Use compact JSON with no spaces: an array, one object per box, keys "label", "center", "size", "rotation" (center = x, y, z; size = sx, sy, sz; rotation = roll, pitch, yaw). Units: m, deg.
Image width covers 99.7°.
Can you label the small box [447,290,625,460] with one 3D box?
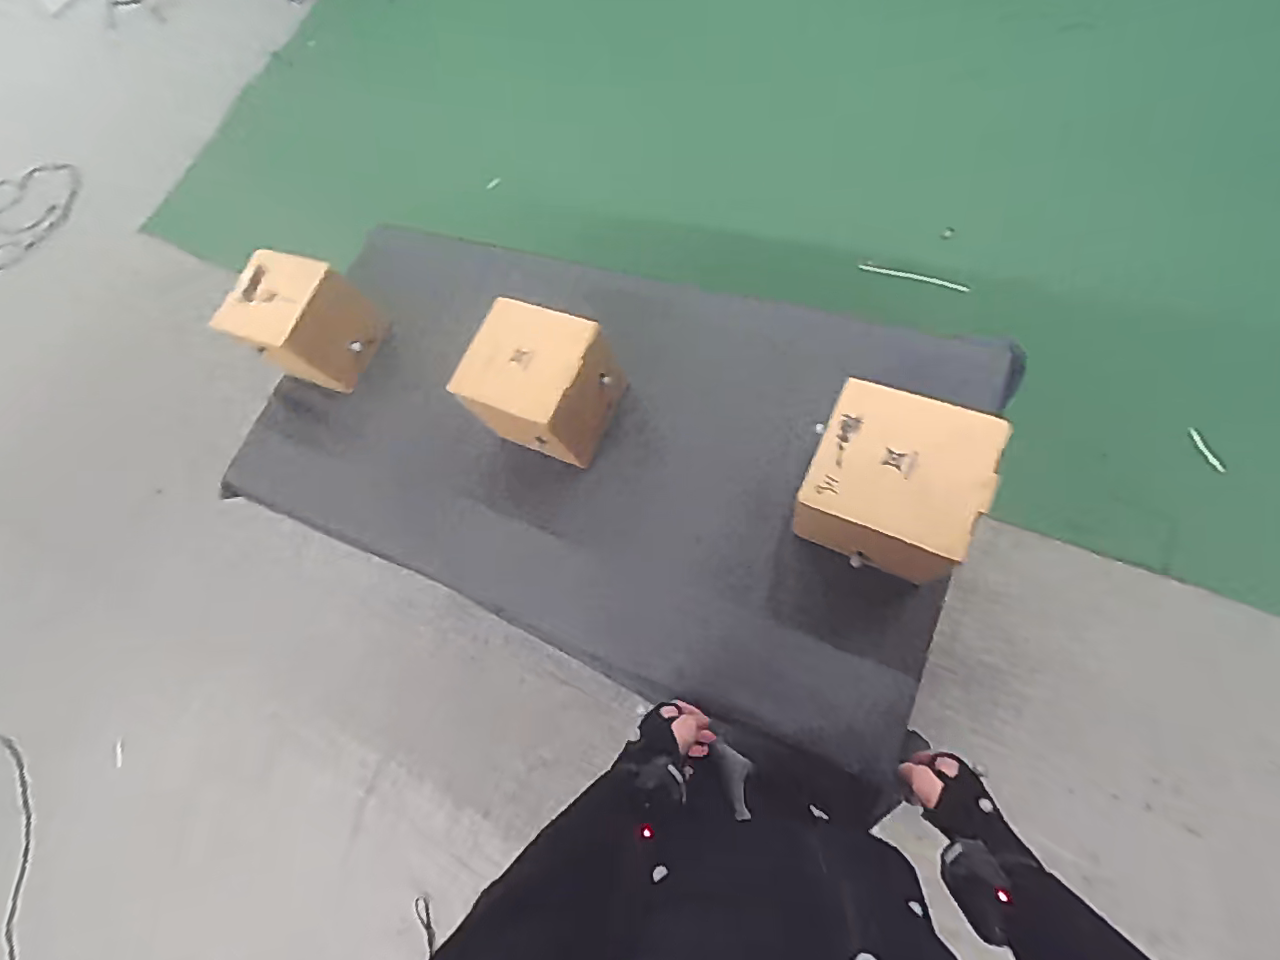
[{"label":"small box","center":[-0.140,-0.148,0.806],"size":[0.179,0.176,0.168],"rotation":[20,74,19]}]

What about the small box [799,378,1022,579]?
[{"label":"small box","center":[0.310,0.009,0.656],"size":[0.179,0.176,0.168],"rotation":[23,76,18]}]

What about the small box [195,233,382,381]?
[{"label":"small box","center":[-0.601,-0.296,0.947],"size":[0.179,0.176,0.168],"rotation":[18,75,15]}]
